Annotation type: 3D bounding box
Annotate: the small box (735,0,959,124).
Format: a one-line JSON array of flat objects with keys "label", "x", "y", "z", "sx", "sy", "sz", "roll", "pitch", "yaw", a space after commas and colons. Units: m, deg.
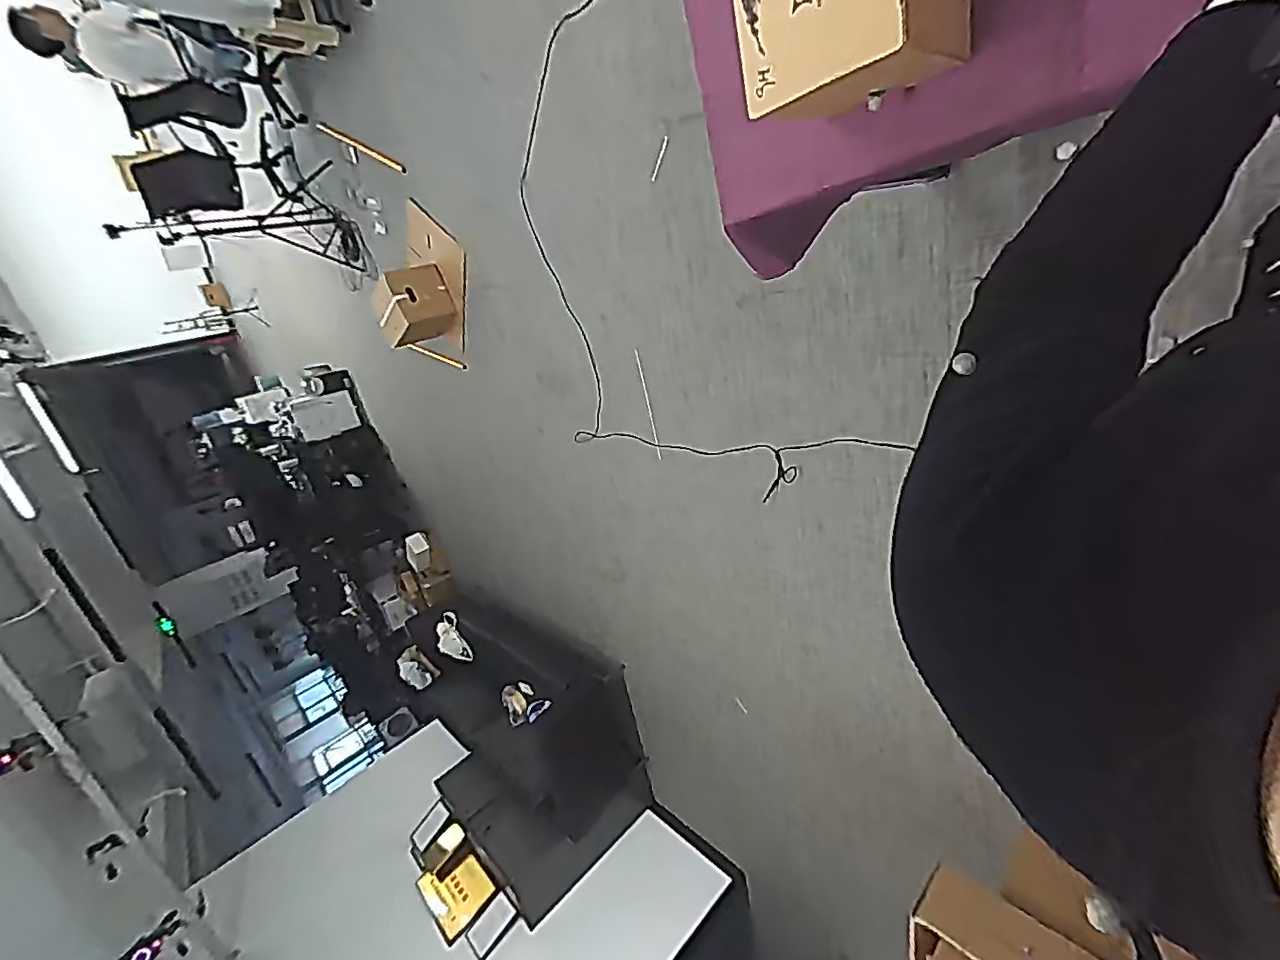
[{"label": "small box", "x": 0.226, "y": -0.505, "z": 0.580, "sx": 0.179, "sy": 0.176, "sz": 0.168, "roll": 10, "pitch": 119, "yaw": 47}]
